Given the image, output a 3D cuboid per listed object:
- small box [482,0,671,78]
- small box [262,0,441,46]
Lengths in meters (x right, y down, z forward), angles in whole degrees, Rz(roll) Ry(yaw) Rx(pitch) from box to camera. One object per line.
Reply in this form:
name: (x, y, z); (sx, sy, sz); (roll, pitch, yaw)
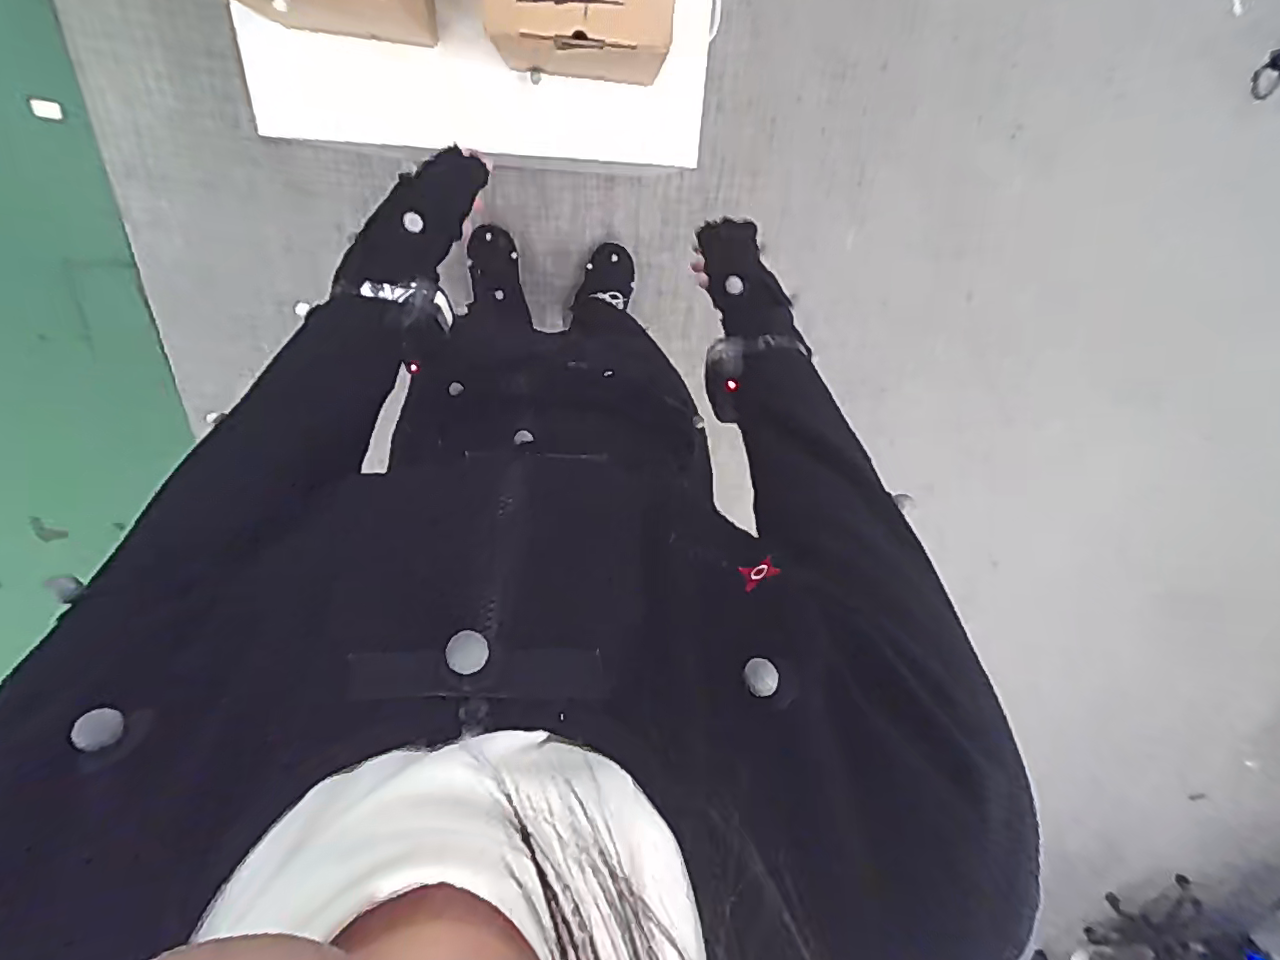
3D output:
small box: (-0.052, -0.504, 0.507); (0.168, 0.176, 0.179); (2, 116, -6)
small box: (-0.283, -0.524, 0.477); (0.168, 0.176, 0.179); (4, 116, -6)
